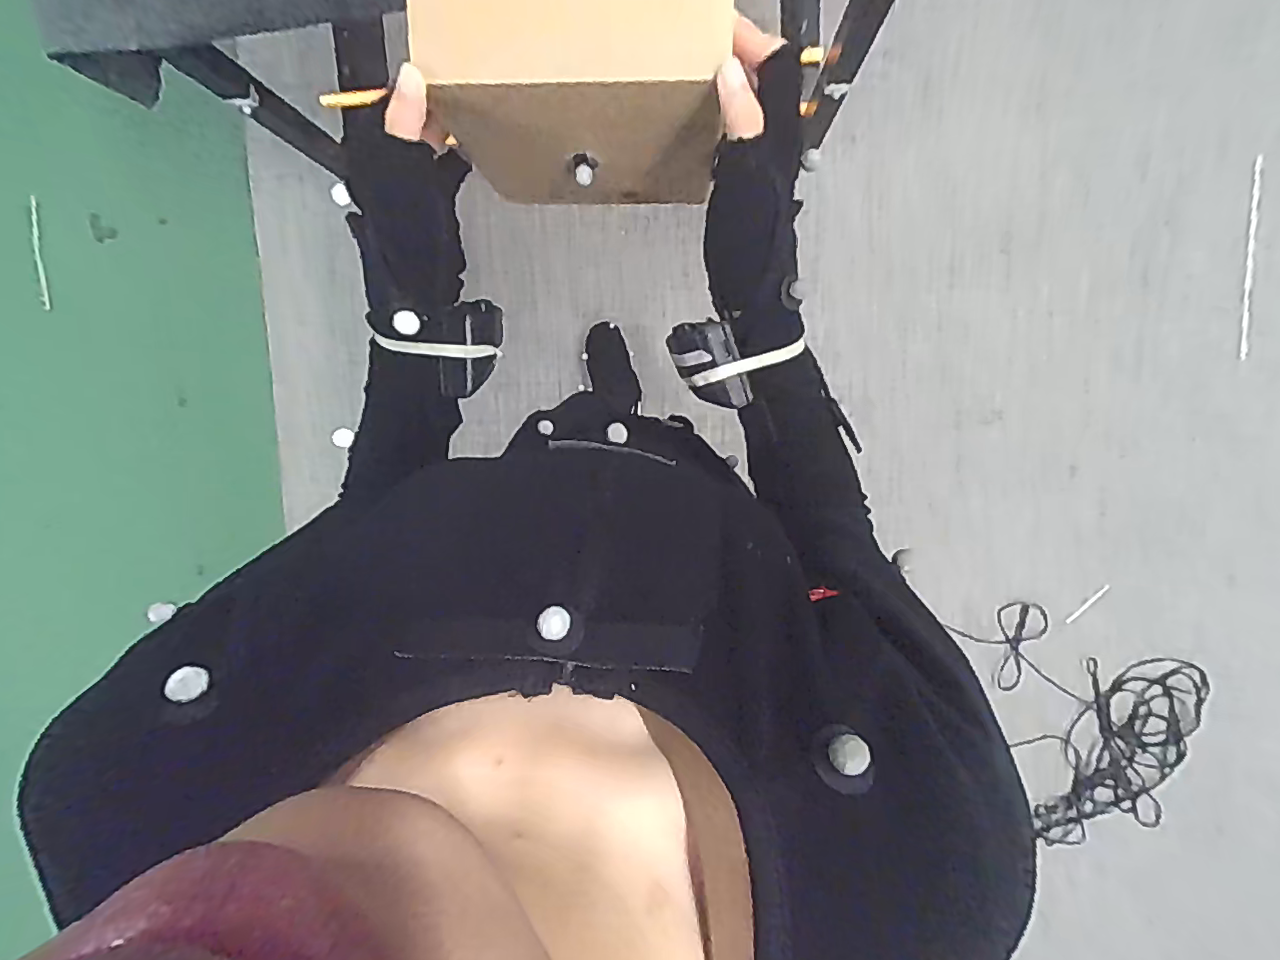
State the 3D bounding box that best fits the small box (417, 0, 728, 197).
[{"bbox_3d":[-0.031,-0.304,0.353,0.168,0.176,0.179,0,97,2],"label":"small box"}]
